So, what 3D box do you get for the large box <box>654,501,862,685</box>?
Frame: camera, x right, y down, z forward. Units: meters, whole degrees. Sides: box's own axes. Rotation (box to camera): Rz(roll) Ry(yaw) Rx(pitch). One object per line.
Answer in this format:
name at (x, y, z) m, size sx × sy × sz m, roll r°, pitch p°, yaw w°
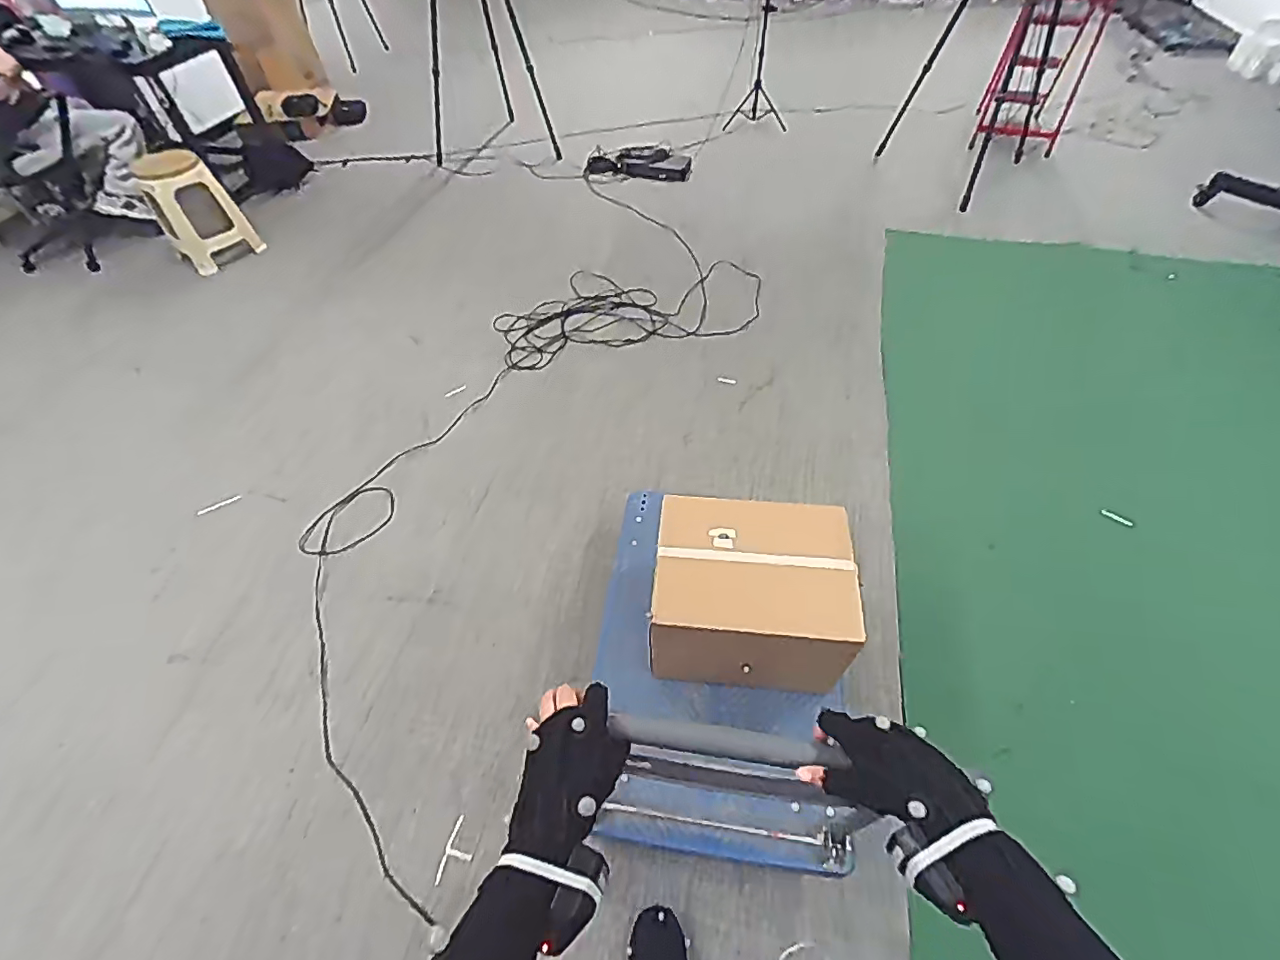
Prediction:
large box at (0.247, 0.264, 1.246) m, size 0.408 × 0.320 × 0.320 m, roll 2°, pitch 51°, yaw 6°
